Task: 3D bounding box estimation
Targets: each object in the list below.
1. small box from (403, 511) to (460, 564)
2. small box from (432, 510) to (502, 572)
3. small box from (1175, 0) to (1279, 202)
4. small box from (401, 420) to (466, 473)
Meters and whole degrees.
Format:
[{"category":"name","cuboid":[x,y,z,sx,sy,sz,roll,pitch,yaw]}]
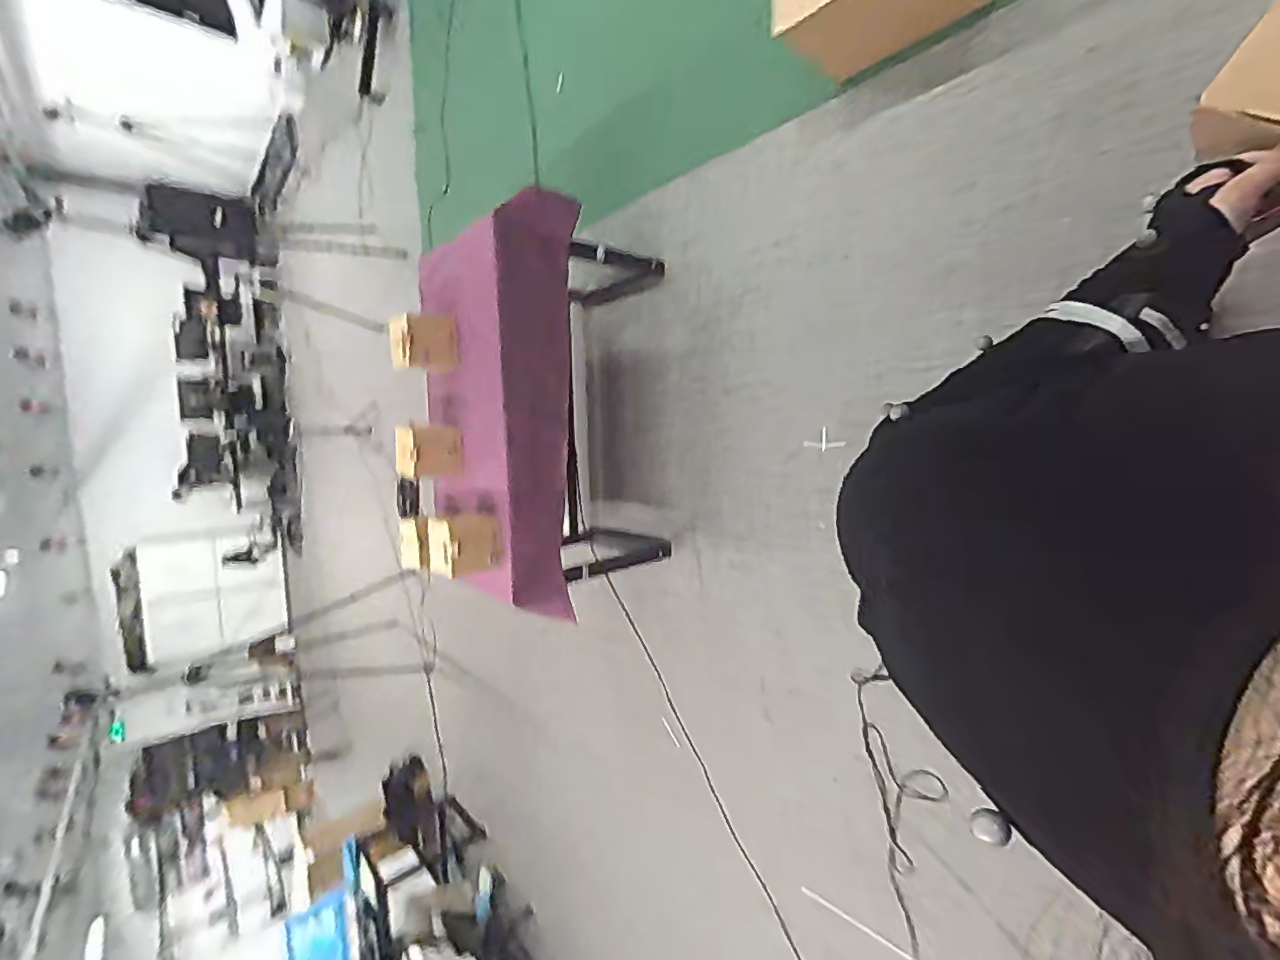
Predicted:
[{"category":"small box","cuboid":[-0.741,0.202,1.963,0.179,0.176,0.168,-2,92,48]},{"category":"small box","cuboid":[-0.557,0.189,1.754,0.179,0.176,0.168,3,96,50]},{"category":"small box","cuboid":[0.559,-0.307,0.395,0.168,0.176,0.179,48,125,33]},{"category":"small box","cuboid":[-0.736,-0.122,1.921,0.179,0.176,0.168,14,105,46]}]
